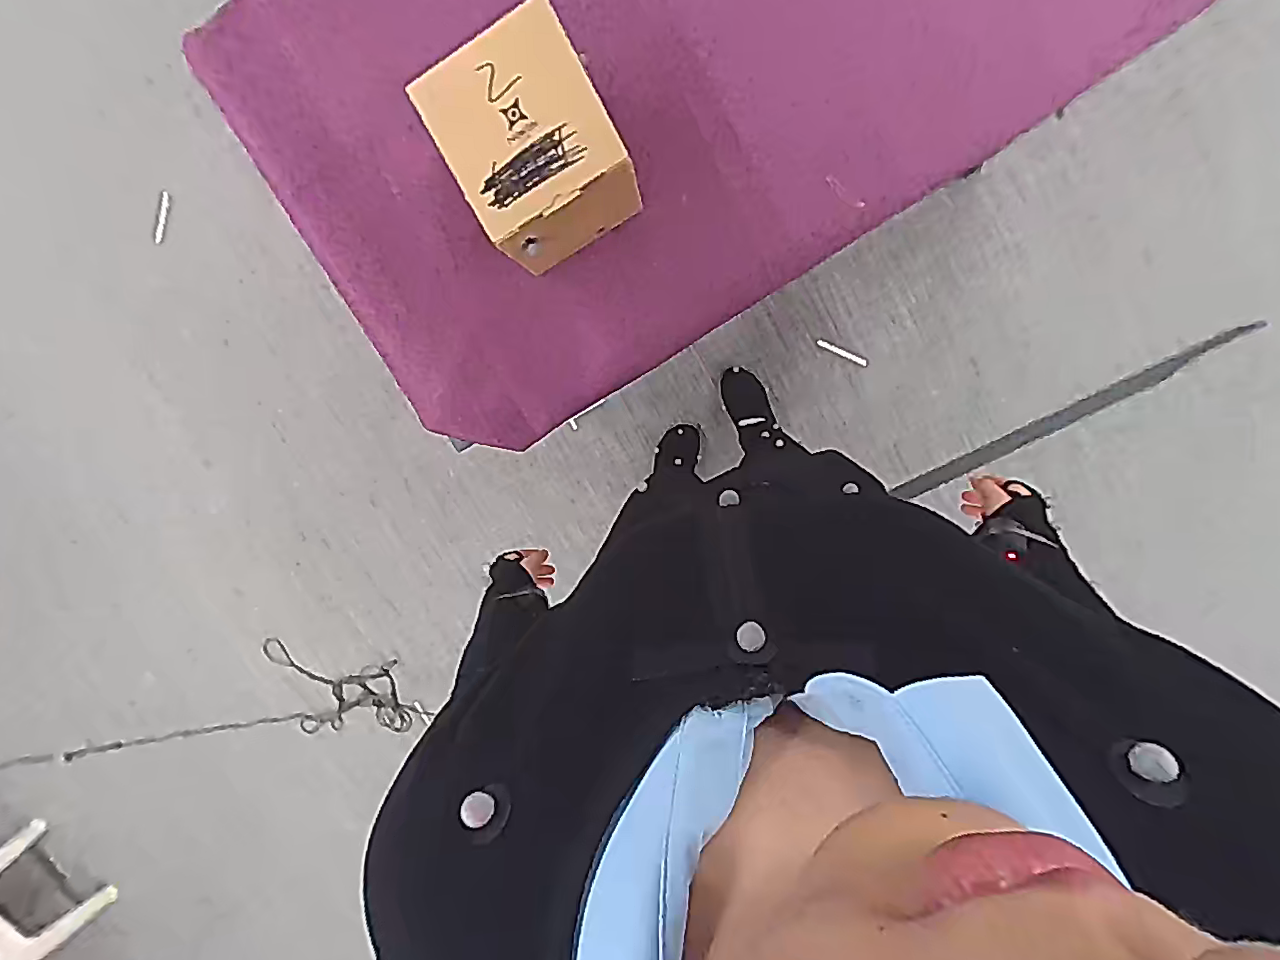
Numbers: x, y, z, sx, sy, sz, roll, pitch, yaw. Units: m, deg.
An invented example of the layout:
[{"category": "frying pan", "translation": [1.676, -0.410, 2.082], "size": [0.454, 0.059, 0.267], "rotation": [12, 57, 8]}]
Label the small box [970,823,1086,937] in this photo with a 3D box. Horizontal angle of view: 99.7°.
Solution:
[{"category": "small box", "translation": [1.056, 1.087, 1.489], "size": [0.168, 0.176, 0.179], "rotation": [-31, 96, 10]}]

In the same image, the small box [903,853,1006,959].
[{"category": "small box", "translation": [0.880, 1.209, 1.526], "size": [0.168, 0.176, 0.179], "rotation": [-24, 97, 7]}]
